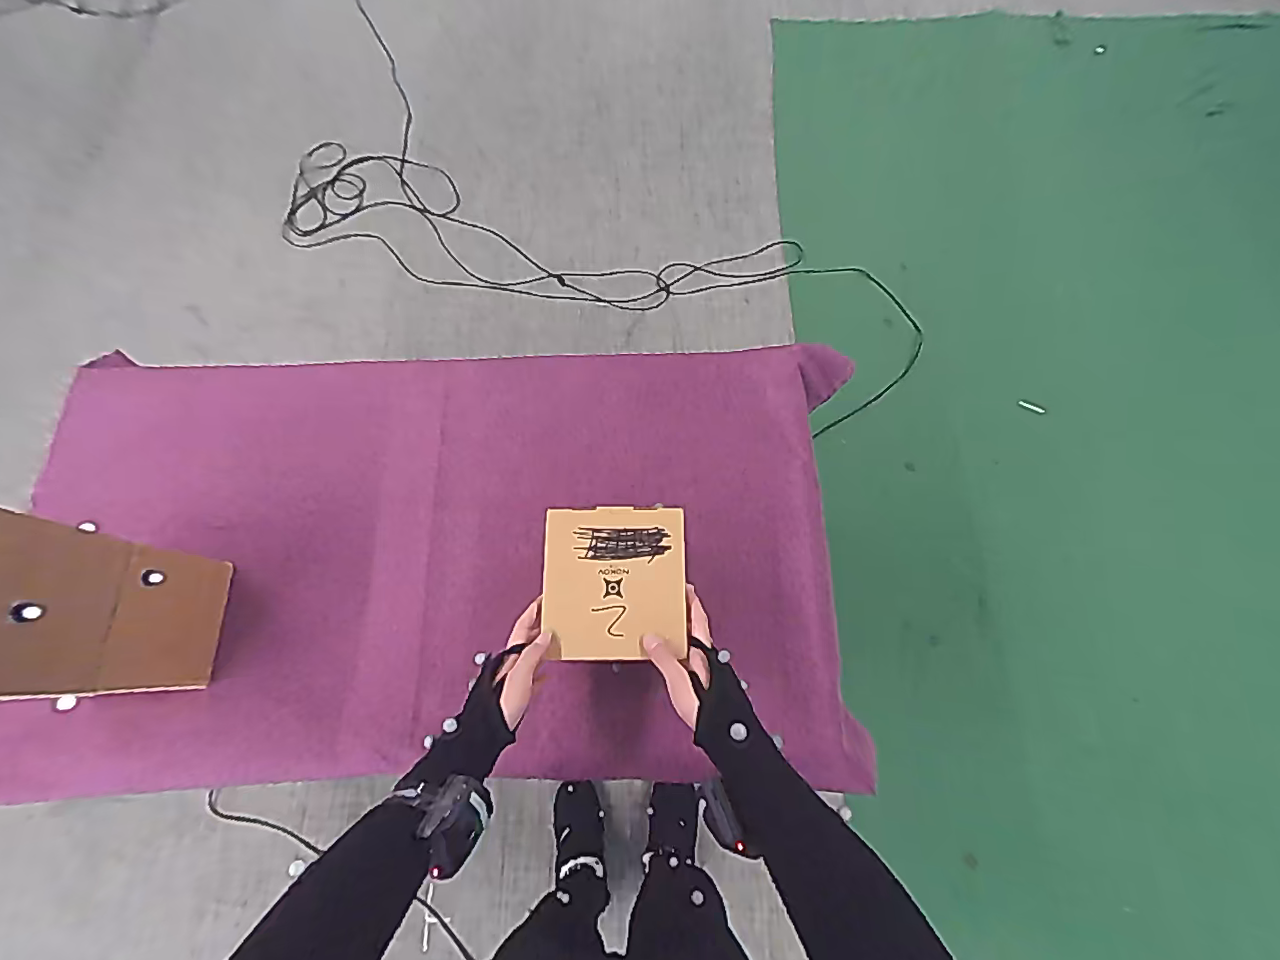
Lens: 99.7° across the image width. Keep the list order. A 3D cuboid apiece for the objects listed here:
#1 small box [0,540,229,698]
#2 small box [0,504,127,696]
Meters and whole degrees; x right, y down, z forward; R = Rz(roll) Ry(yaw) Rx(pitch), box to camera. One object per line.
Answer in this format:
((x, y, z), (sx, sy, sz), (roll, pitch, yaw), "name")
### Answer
((-0.683, 0.183, 0.701), (0.168, 0.176, 0.179), (-3, 70, 1), "small box")
((-0.687, 0.126, 0.547), (0.168, 0.176, 0.179), (-2, 71, 1), "small box")
